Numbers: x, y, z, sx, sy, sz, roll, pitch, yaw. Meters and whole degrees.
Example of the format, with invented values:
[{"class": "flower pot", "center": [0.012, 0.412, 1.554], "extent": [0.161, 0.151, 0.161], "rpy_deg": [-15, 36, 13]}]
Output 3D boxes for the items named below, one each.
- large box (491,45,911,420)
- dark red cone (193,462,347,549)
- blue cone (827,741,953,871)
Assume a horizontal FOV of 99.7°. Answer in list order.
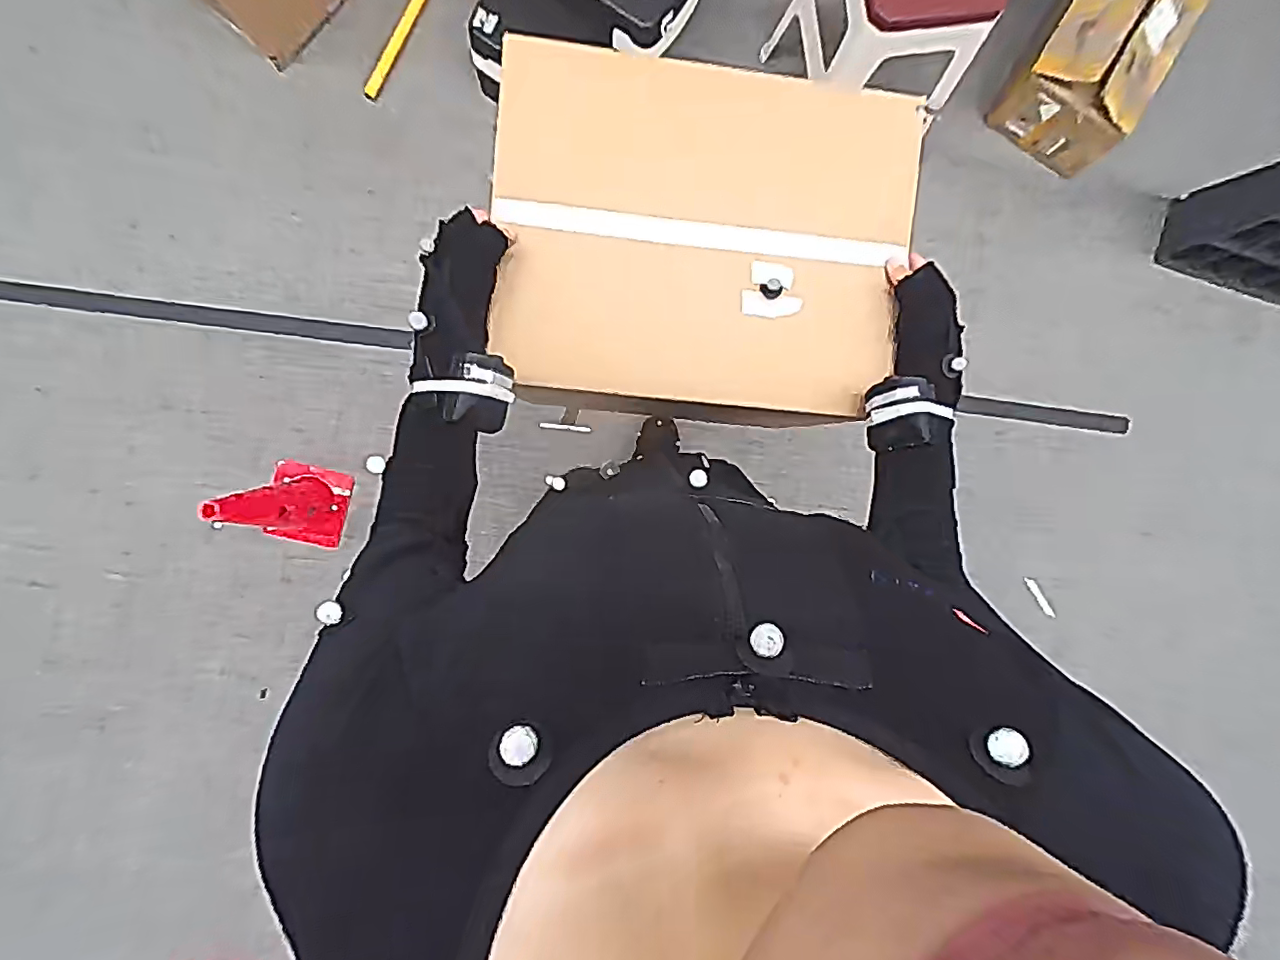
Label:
[{"class": "large box", "center": [0.048, -0.248, 0.673], "extent": [0.408, 0.320, 0.320], "rpy_deg": [4, 94, -5]}, {"class": "dark red cone", "center": [-0.850, 0.062, 1.219], "extent": [0.201, 0.394, 0.202], "rpy_deg": [13, 89, -4]}, {"class": "blue cone", "center": [0.631, 0.824, 1.343], "extent": [0.192, 0.380, 0.193], "rpy_deg": [10, 89, -5]}]
